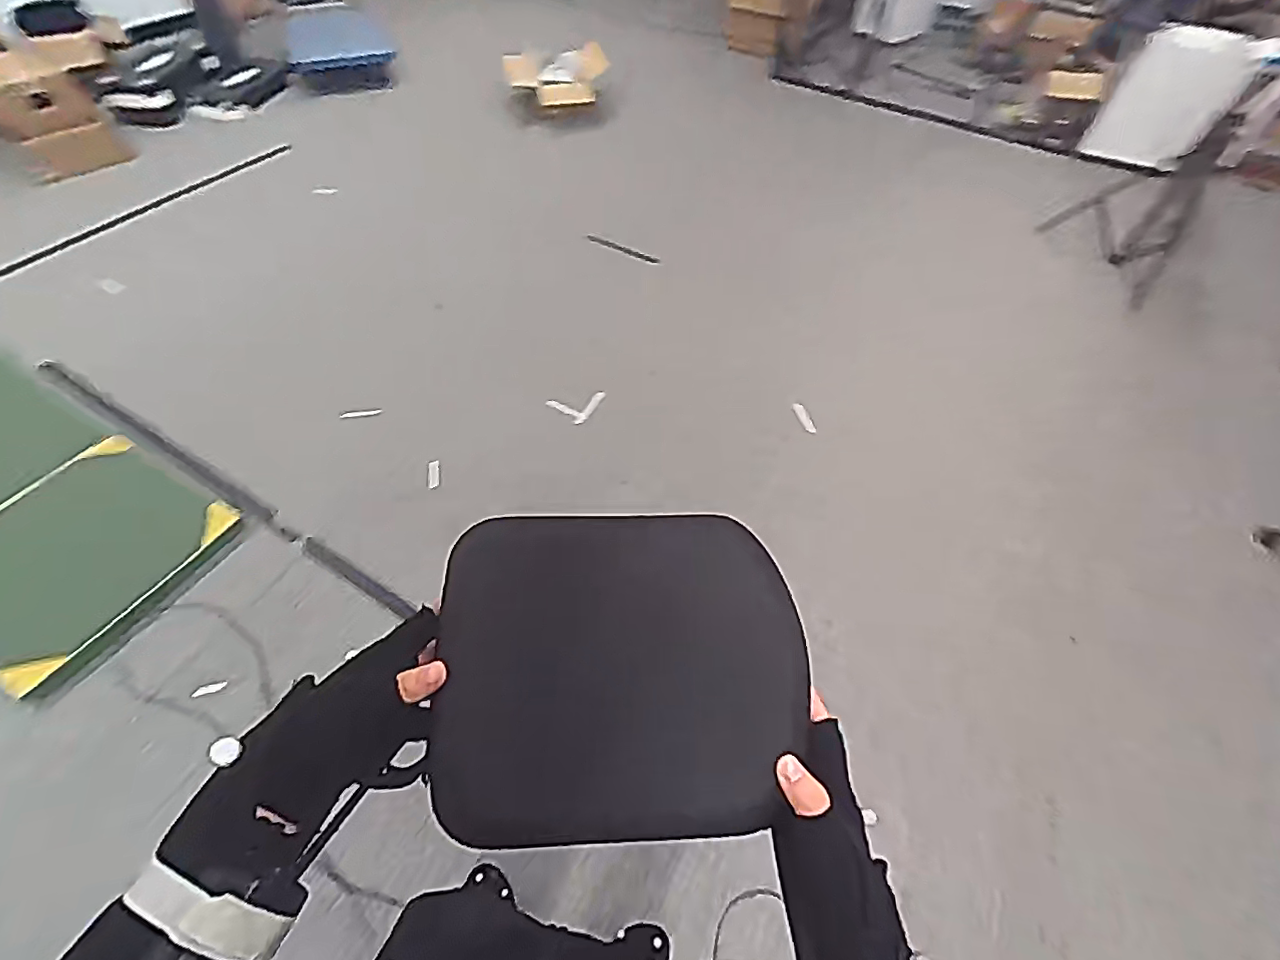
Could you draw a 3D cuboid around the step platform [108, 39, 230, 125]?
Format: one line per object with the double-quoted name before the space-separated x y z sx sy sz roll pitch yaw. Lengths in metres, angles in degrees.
"step platform" -2.686 -2.297 3.102 0.286 0.204 0.684 3 55 -2
